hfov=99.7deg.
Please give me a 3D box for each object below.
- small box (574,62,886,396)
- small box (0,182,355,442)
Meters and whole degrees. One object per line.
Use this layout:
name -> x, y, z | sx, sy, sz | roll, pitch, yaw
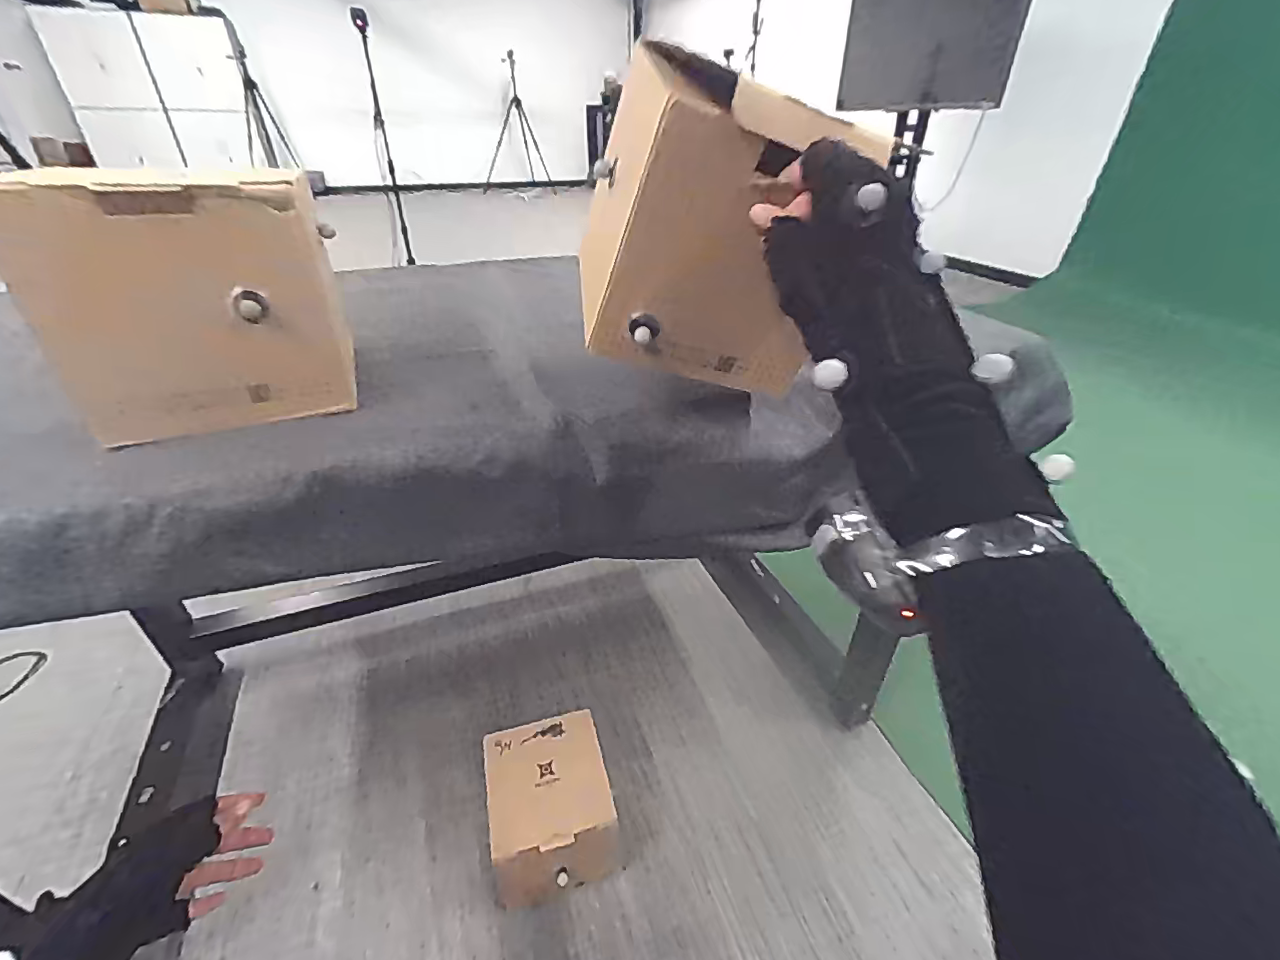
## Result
small box -> 0.046, -0.190, 0.427 | 0.168, 0.176, 0.179 | 9, 42, -17
small box -> -0.340, -0.140, 0.437 | 0.168, 0.176, 0.179 | -13, 33, -22
